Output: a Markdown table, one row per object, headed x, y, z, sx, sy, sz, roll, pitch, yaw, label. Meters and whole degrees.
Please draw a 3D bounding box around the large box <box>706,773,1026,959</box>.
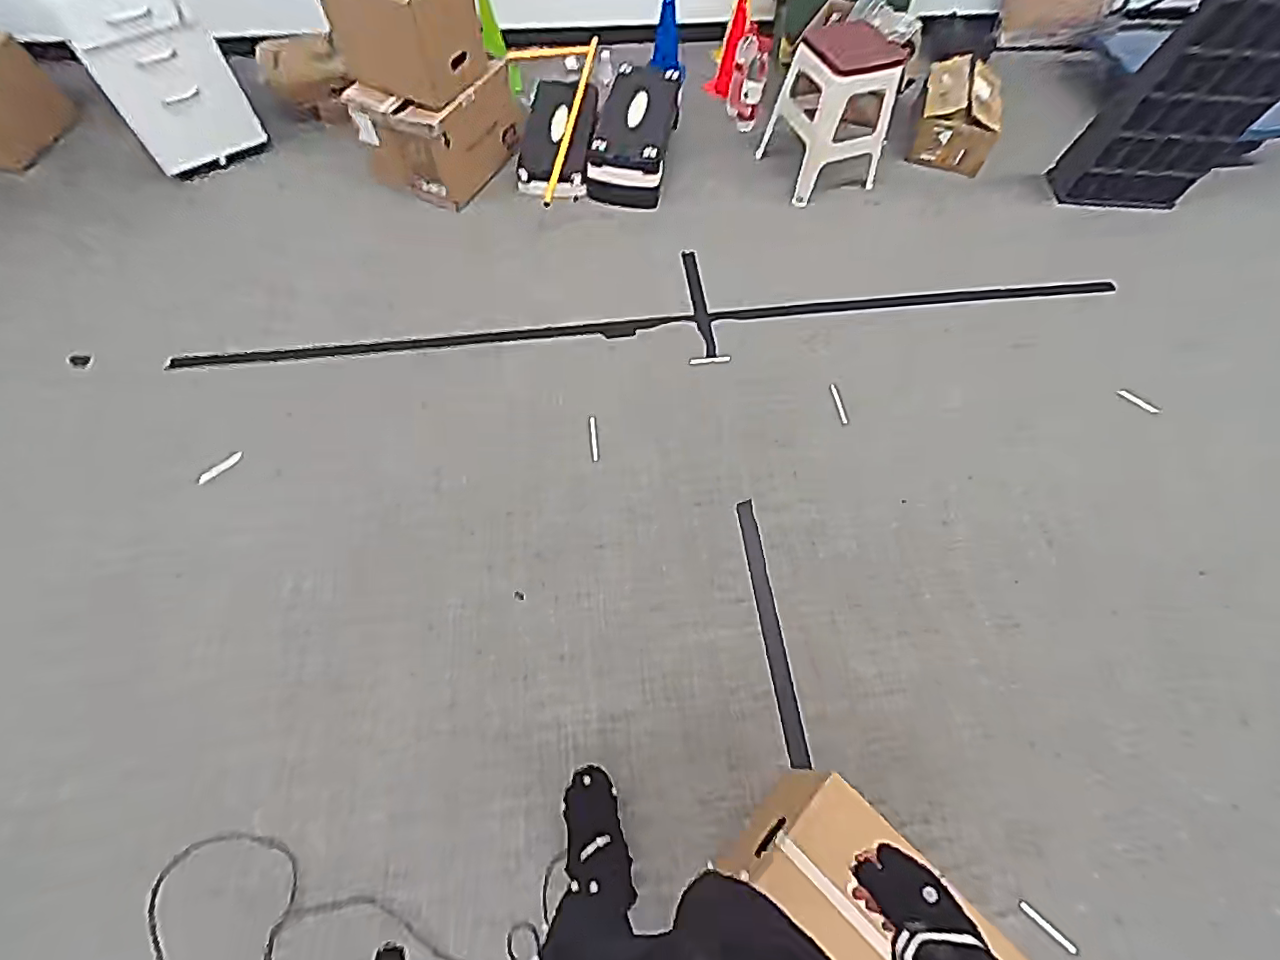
| x | y | z | sx | sy | sz | roll | pitch | yaw | label |
| --- | --- | --- | --- | --- | --- | --- | --- | --- | --- |
| 0.385 | 0.829 | 1.021 | 0.408 | 0.320 | 0.320 | 41 | 68 | 19 | large box |
